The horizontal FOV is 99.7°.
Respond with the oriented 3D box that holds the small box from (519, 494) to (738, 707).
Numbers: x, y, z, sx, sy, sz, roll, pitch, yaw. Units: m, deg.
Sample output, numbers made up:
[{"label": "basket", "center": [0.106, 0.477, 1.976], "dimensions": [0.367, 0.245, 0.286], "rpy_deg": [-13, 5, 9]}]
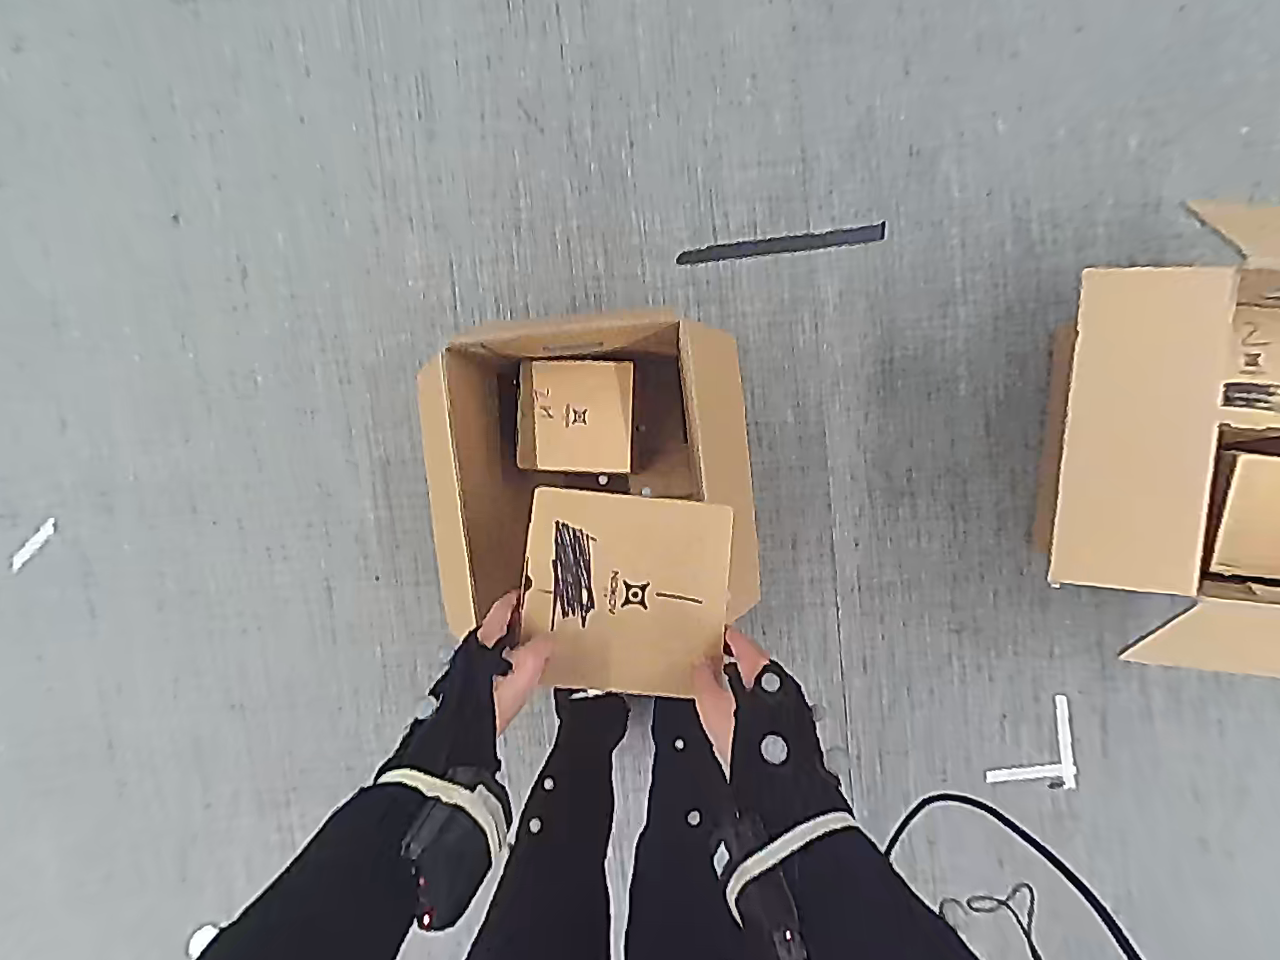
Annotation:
[{"label": "small box", "center": [-0.007, 0.110, 0.541], "dimensions": [0.179, 0.176, 0.168], "rpy_deg": [5, 84, 2]}]
